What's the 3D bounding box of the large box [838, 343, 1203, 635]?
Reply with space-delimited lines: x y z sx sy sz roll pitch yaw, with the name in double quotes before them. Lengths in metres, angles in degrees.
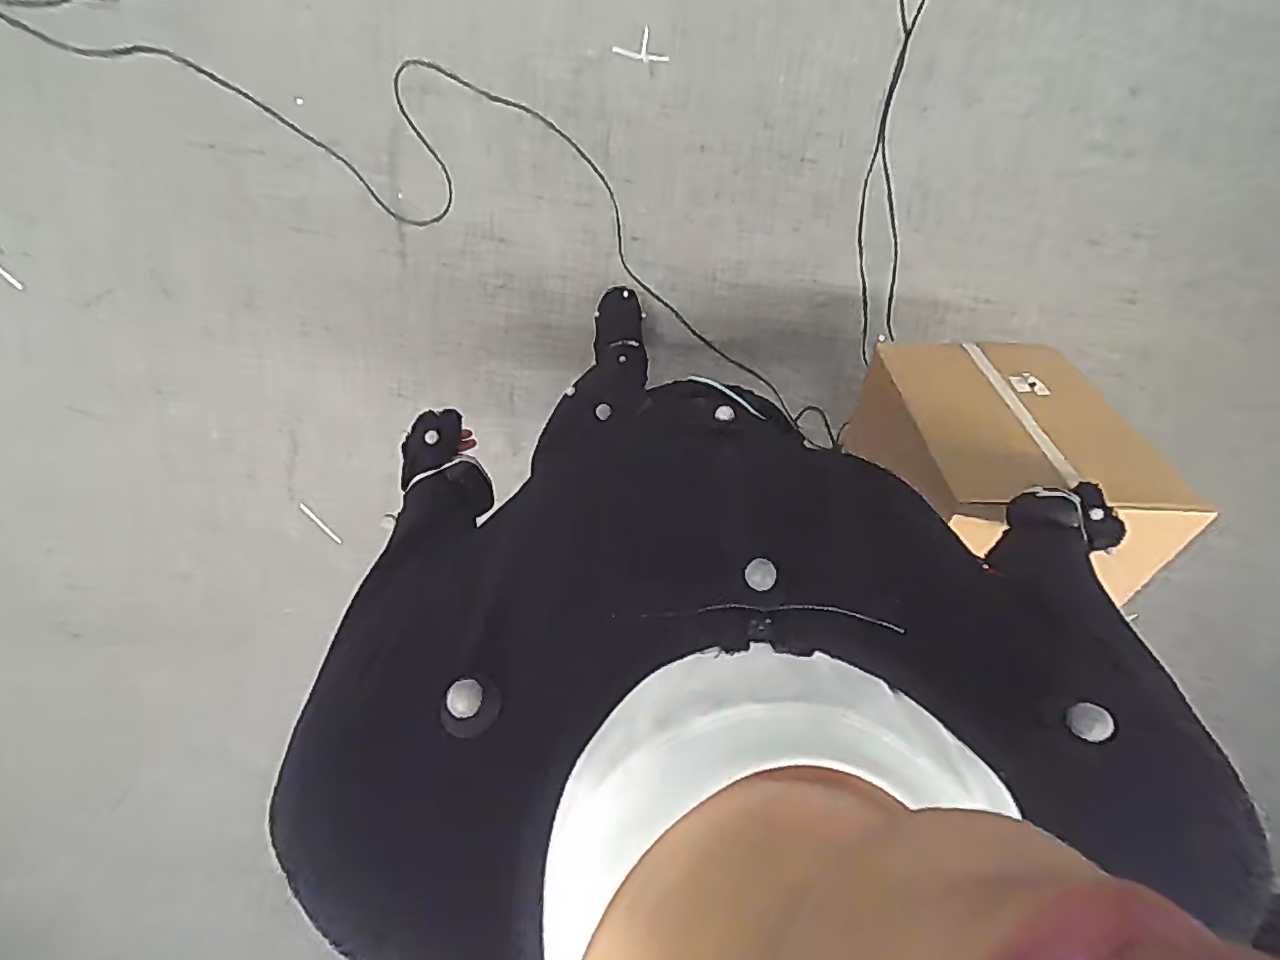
"large box" 0.561 0.007 0.918 0.320 0.408 0.320 3 132 3
